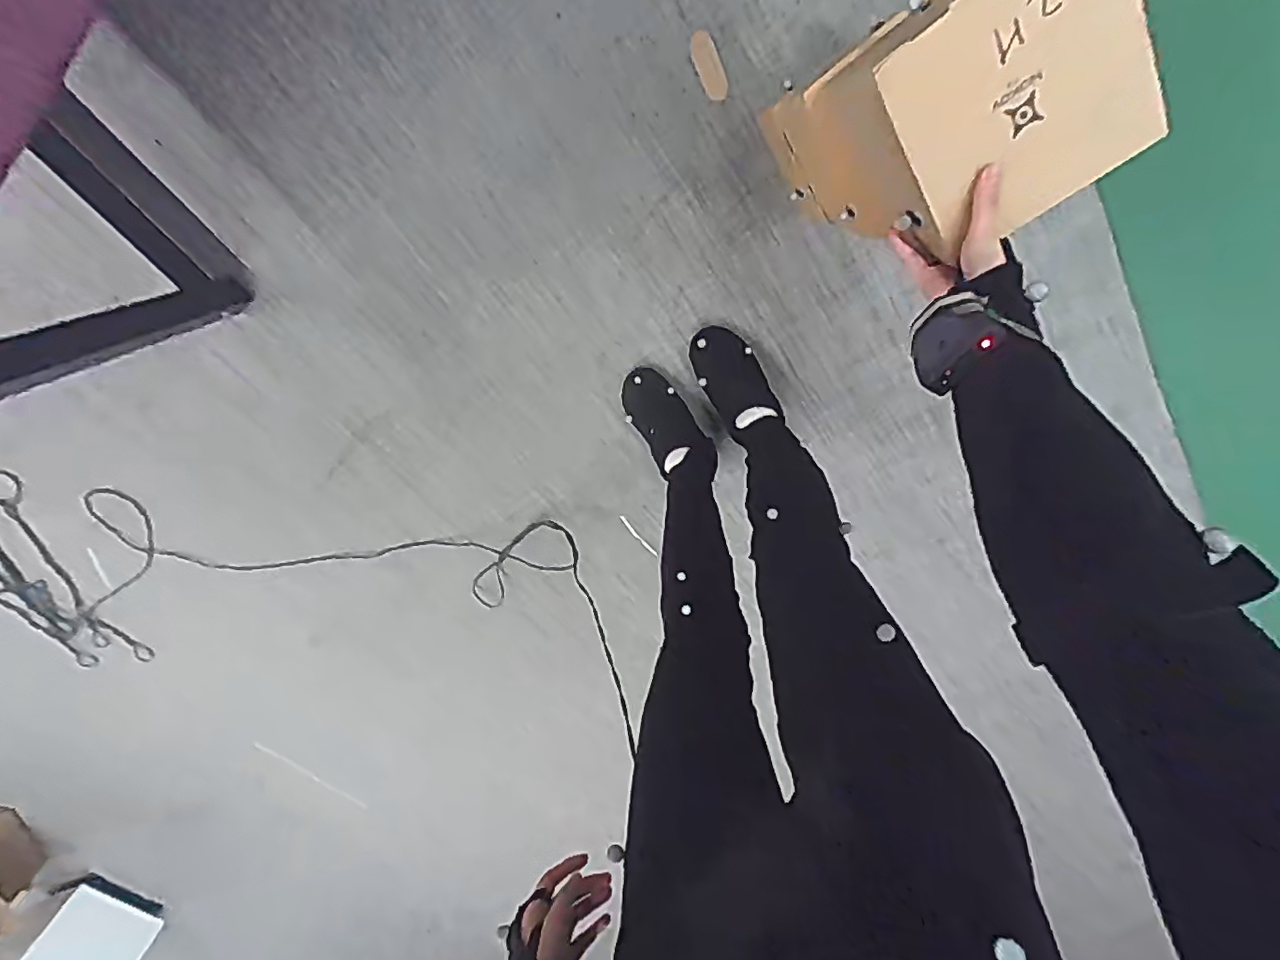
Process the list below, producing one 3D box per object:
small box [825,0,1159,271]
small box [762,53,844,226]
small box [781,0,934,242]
[{"bbox_3d":[0.290,-0.322,0.479,0.168,0.176,0.179,-31,115,20],"label":"small box"},{"bbox_3d":[0.285,-0.488,0.760,0.179,0.176,0.168,-29,115,19],"label":"small box"},{"bbox_3d":[0.282,-0.407,0.620,0.168,0.176,0.179,-32,115,20],"label":"small box"}]
